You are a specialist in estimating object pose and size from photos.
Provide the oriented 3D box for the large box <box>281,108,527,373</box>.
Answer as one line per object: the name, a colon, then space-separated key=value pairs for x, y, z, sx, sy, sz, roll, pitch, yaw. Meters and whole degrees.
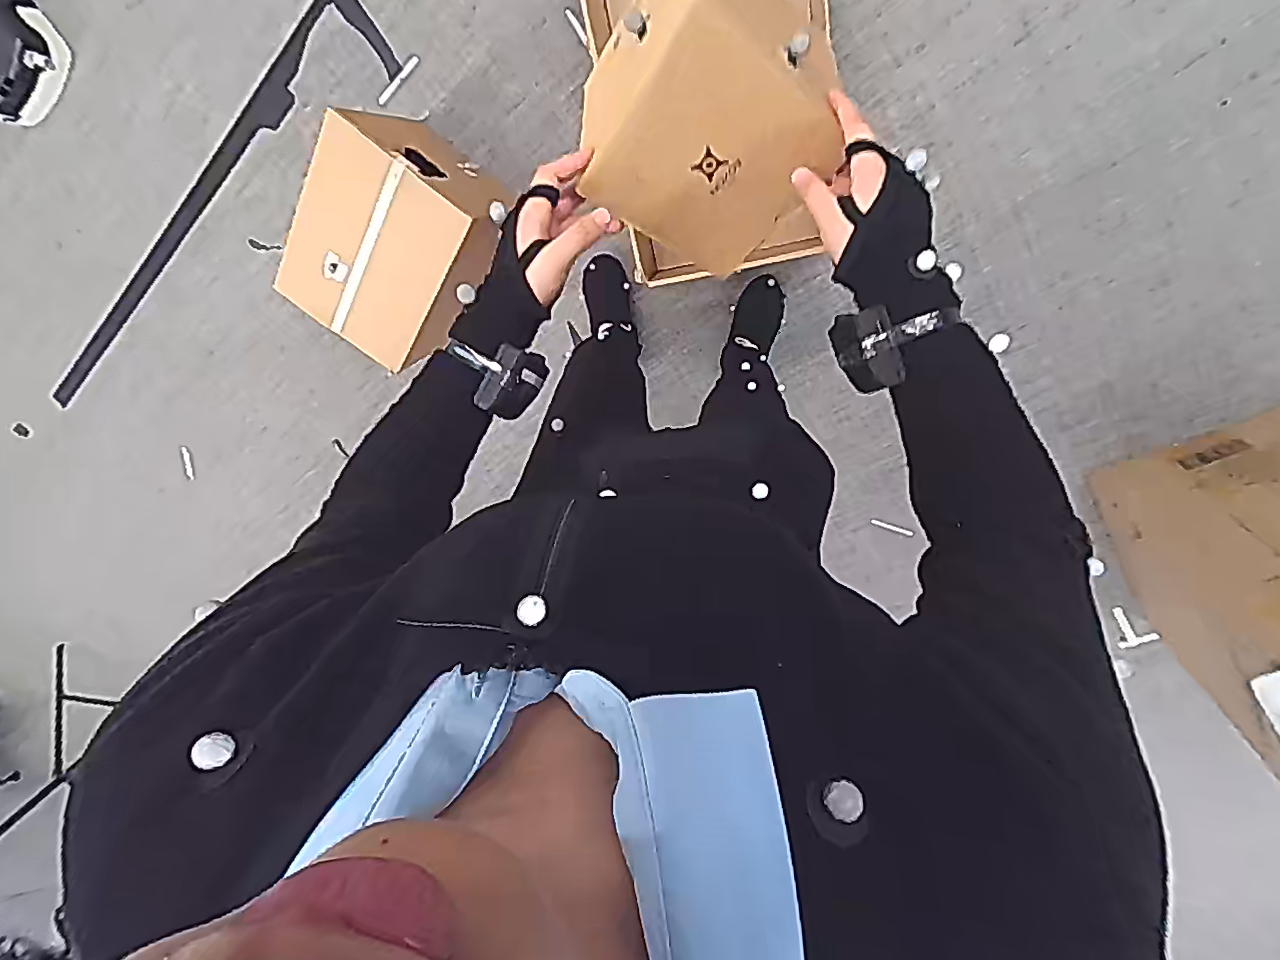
large box: x=-0.516 y=-0.530 z=1.215 sx=0.320 sy=0.320 sz=0.408 roll=37 pitch=121 yaw=-9
